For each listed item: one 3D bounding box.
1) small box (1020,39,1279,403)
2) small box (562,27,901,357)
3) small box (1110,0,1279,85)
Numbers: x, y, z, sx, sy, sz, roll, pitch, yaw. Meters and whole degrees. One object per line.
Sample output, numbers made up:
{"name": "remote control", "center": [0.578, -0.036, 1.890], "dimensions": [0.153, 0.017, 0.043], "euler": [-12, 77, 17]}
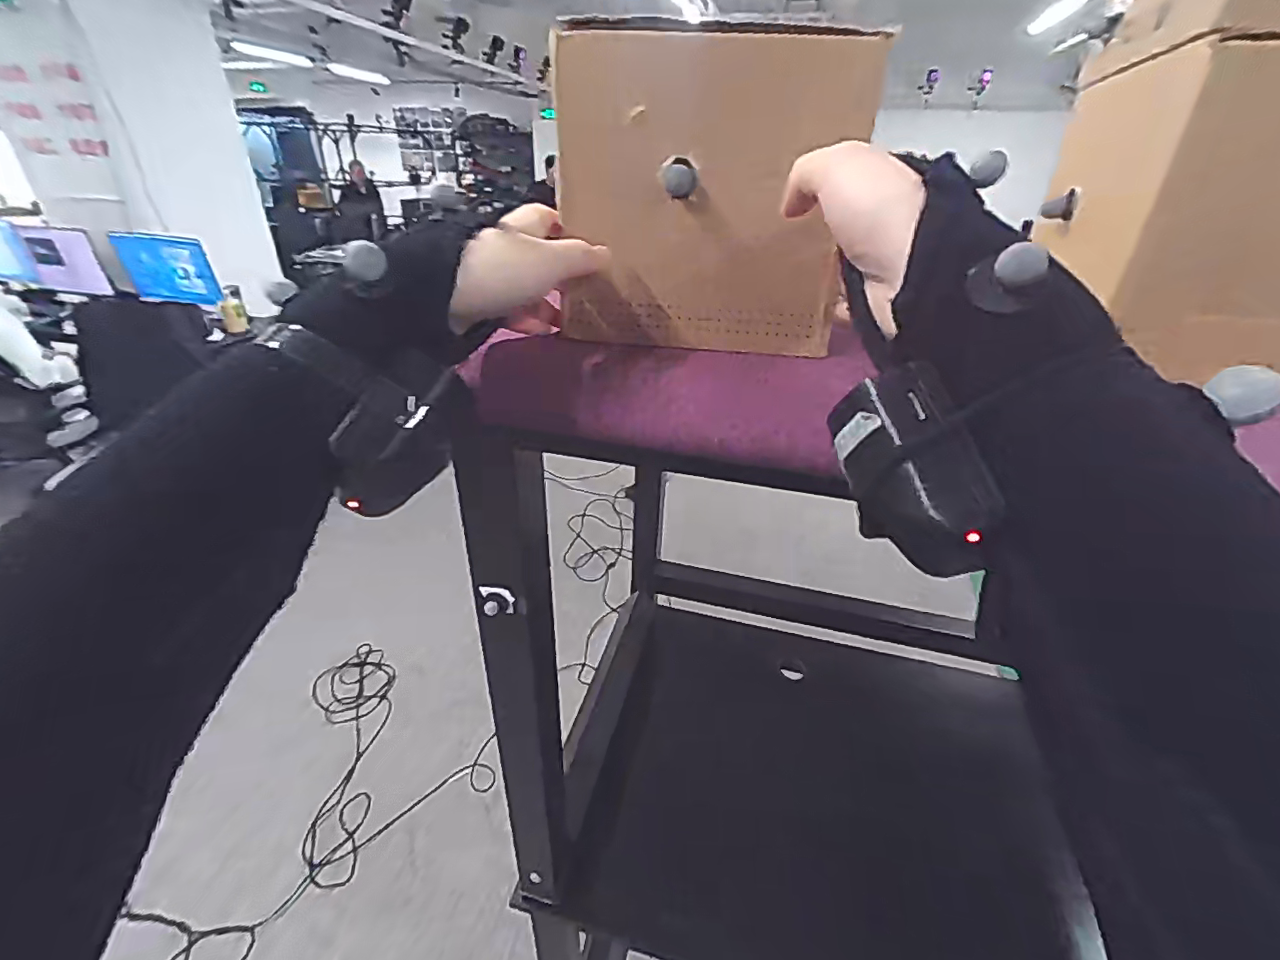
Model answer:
{"name": "small box", "center": [0.374, -0.151, 0.338], "dimensions": [0.179, 0.176, 0.168], "euler": [11, 30, 13]}
{"name": "small box", "center": [0.052, -0.192, 0.381], "dimensions": [0.179, 0.176, 0.168], "euler": [5, 31, 4]}
{"name": "small box", "center": [0.383, -0.297, 0.264], "dimensions": [0.179, 0.176, 0.168], "euler": [11, 30, 13]}
